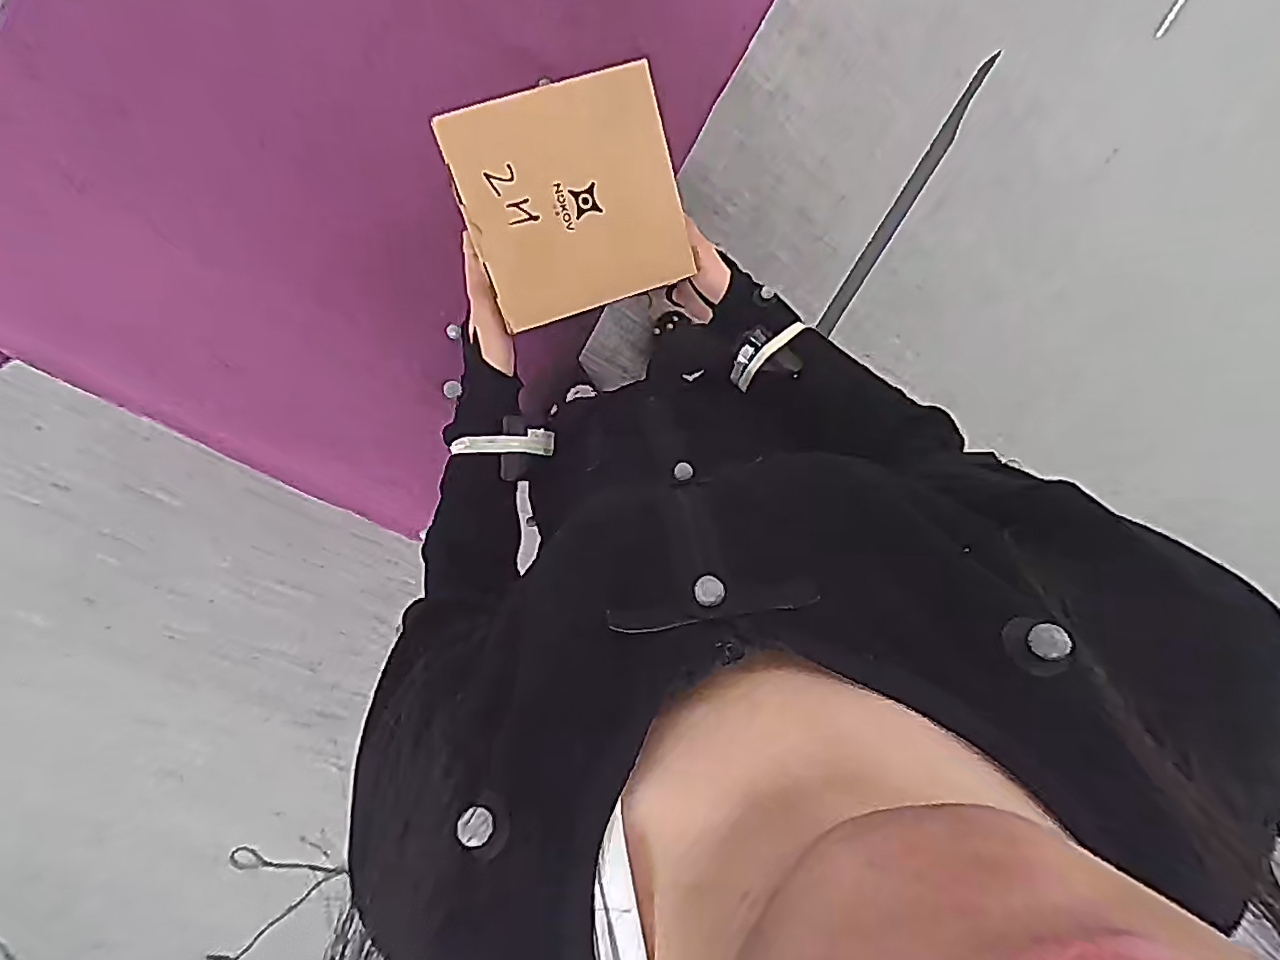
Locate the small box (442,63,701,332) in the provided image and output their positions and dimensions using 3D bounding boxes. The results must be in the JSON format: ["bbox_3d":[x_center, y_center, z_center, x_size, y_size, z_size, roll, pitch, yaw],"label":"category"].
[{"bbox_3d":[-0.065,-0.250,0.511,0.179,0.176,0.168,-20,111,-6],"label":"small box"}]
